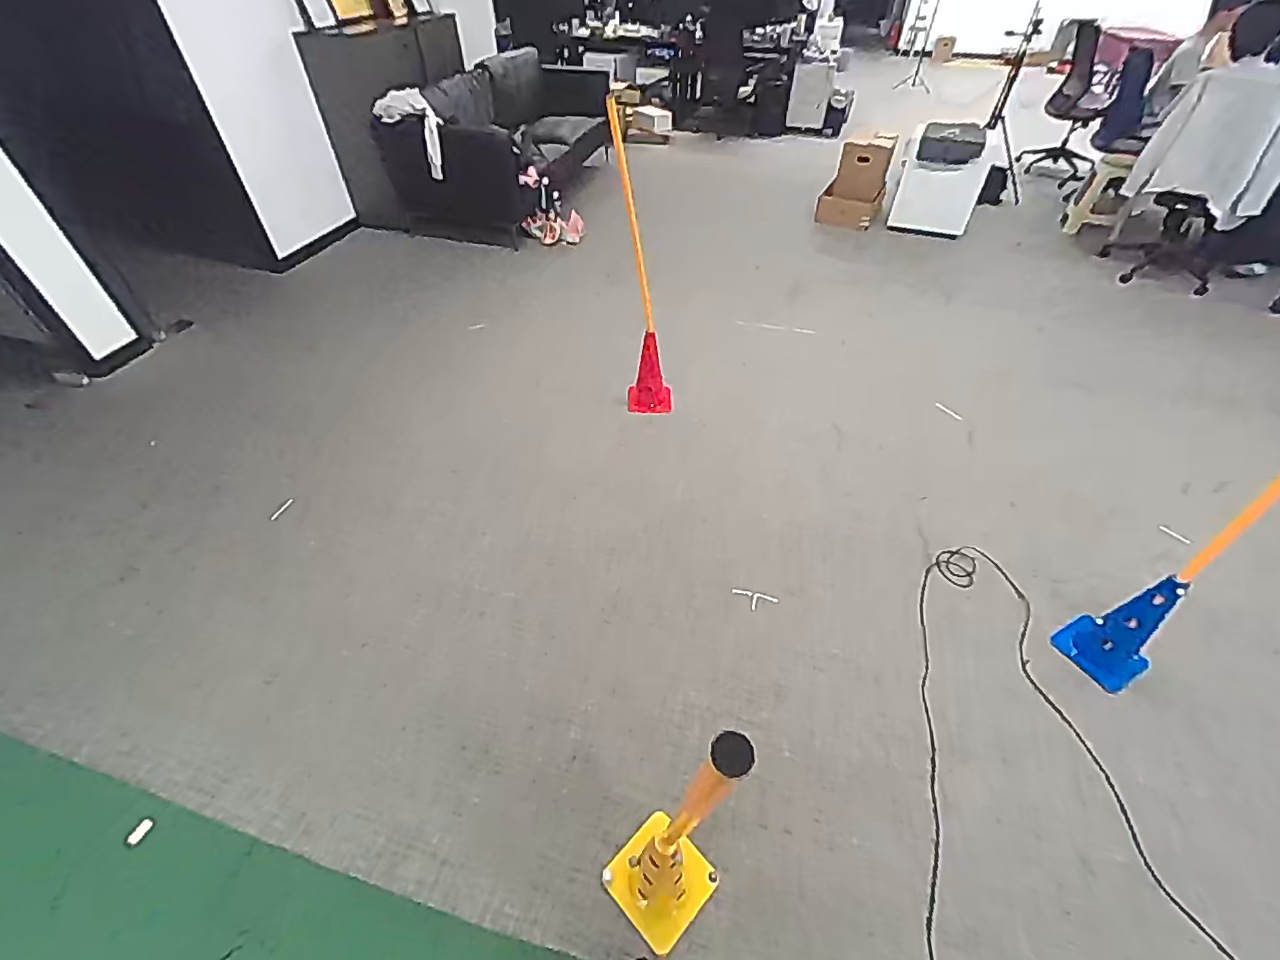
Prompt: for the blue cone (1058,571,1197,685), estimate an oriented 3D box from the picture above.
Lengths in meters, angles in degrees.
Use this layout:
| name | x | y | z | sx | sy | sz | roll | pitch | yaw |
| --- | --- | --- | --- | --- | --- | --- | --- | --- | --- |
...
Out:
| name | x | y | z | sx | sy | sz | roll | pitch | yaw |
| --- | --- | --- | --- | --- | --- | --- | --- | --- | --- |
| blue cone | 1.377 | 0.375 | 1.498 | 0.193 | 0.380 | 0.192 | -20 | 47 | -23 |
